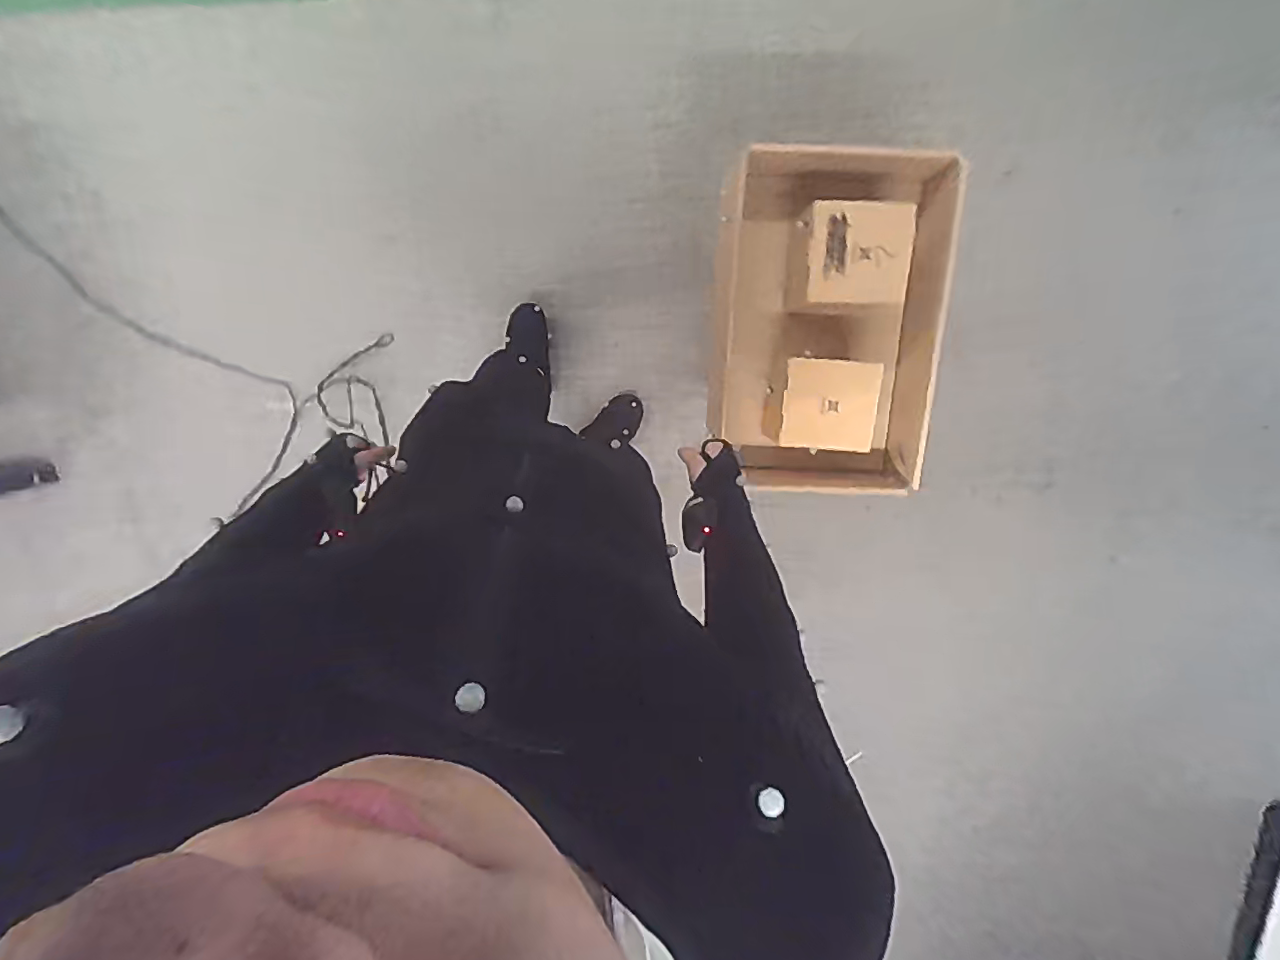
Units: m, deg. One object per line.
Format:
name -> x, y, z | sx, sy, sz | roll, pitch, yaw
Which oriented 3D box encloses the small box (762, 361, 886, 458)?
small box -> 0.353, -0.145, 1.068 | 0.179, 0.176, 0.168 | 4, 103, 1
